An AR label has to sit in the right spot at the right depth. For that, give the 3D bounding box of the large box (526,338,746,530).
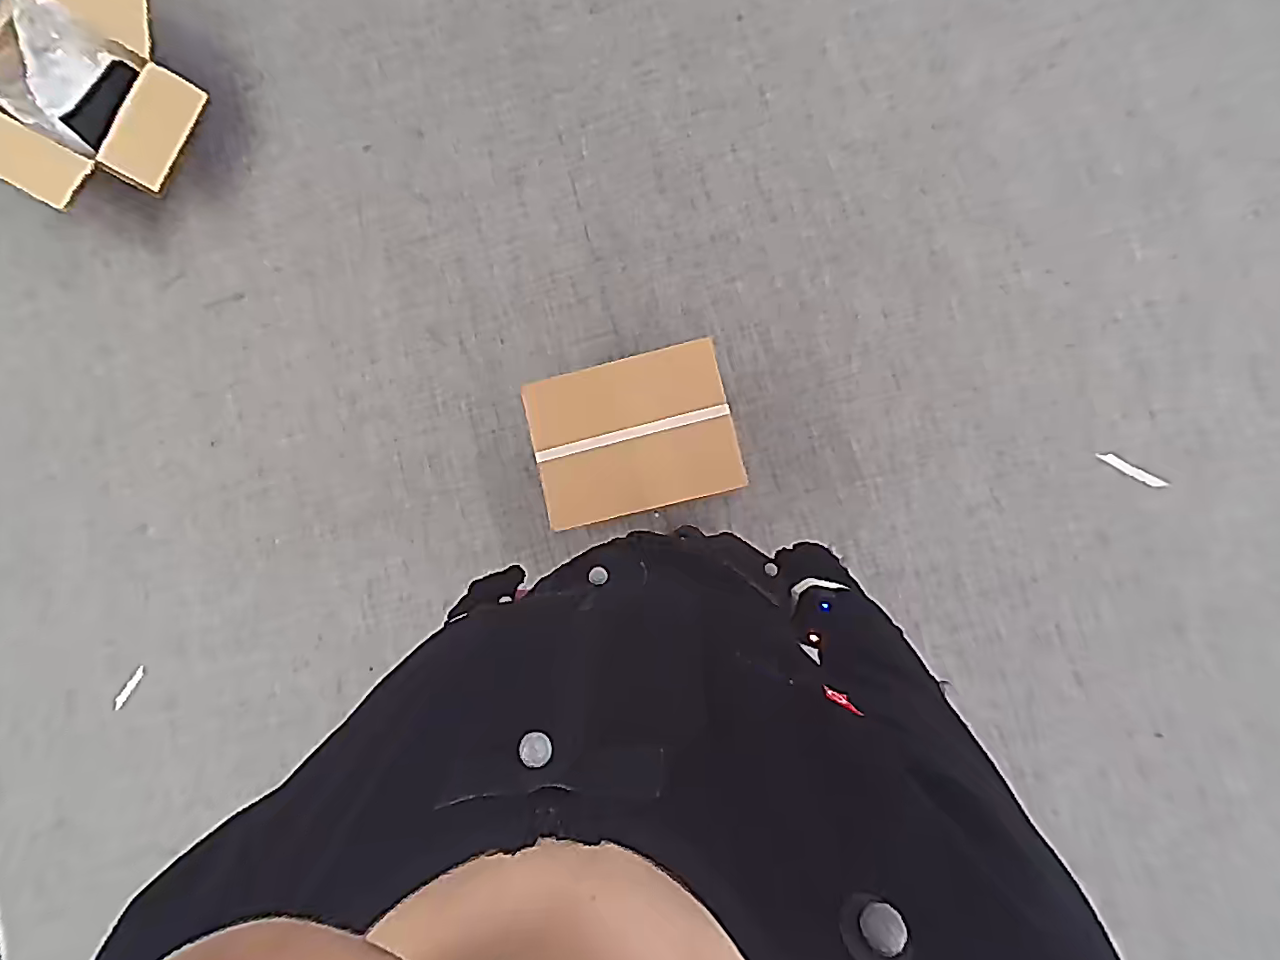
[{"bbox_3d":[-0.001,-0.083,1.248,0.408,0.320,0.320,-14,86,4],"label":"large box"}]
